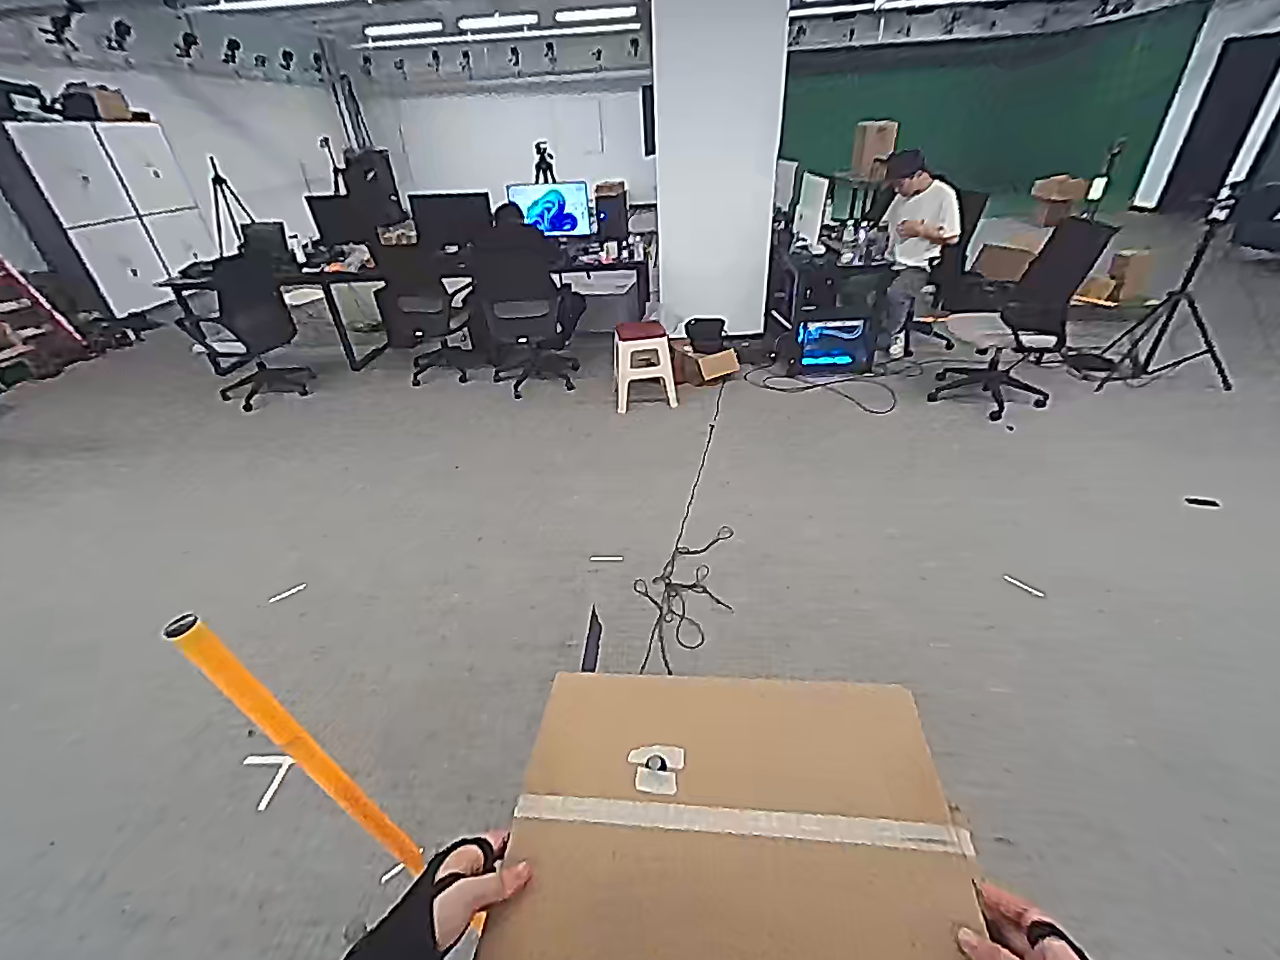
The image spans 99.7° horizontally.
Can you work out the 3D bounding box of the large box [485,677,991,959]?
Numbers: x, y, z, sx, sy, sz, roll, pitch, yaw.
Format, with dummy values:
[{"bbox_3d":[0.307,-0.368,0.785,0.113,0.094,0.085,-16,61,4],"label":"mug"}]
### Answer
[{"bbox_3d":[0.103,0.441,0.595,0.408,0.320,0.320,-3,34,11],"label":"large box"}]
